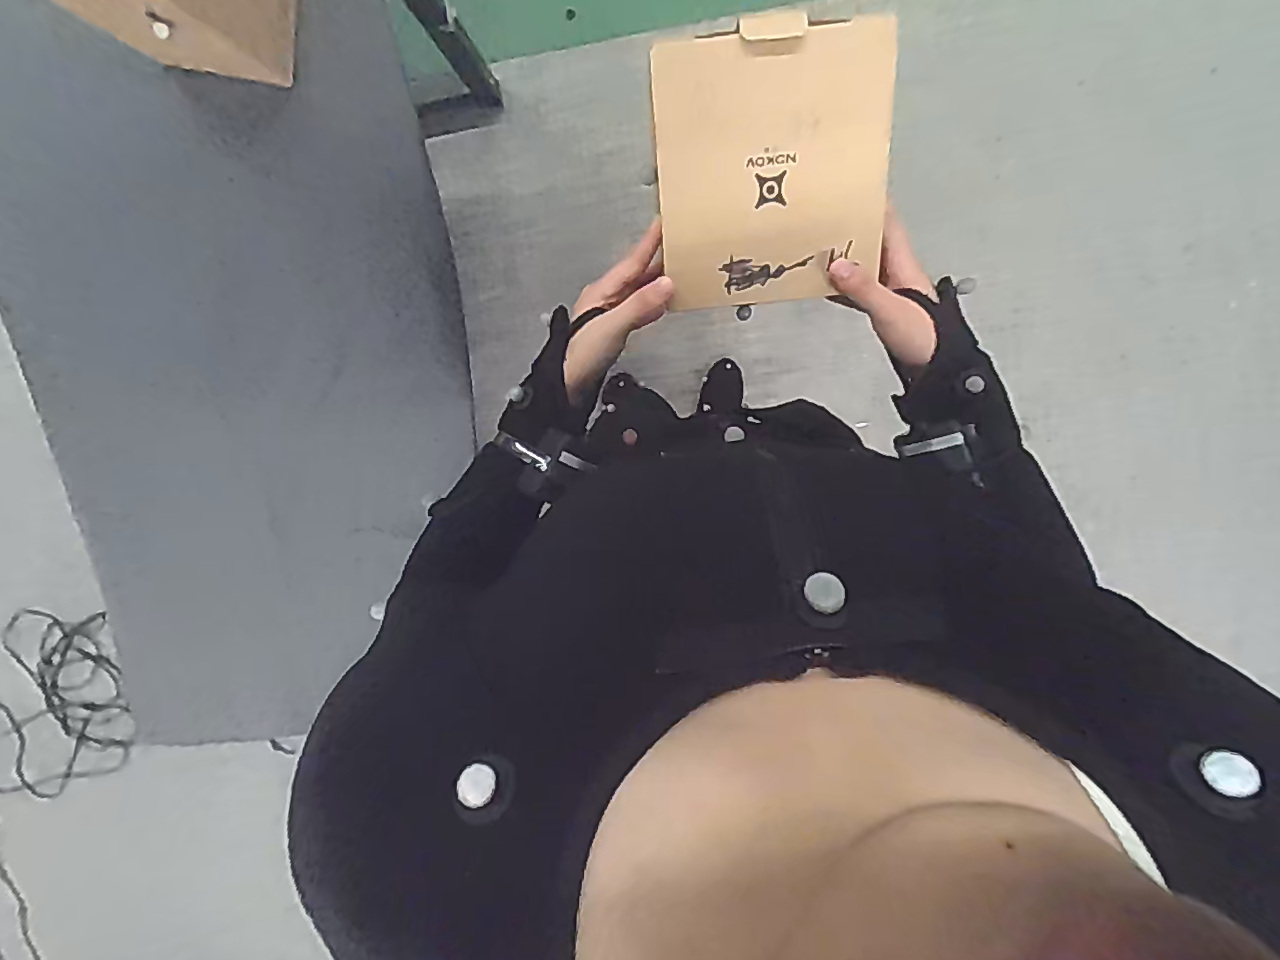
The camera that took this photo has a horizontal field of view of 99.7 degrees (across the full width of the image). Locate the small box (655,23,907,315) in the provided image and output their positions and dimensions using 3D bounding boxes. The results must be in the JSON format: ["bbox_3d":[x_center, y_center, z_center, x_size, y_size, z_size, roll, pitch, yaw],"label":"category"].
[{"bbox_3d":[0.101,-0.243,0.460,0.168,0.176,0.179,-4,113,2],"label":"small box"}]

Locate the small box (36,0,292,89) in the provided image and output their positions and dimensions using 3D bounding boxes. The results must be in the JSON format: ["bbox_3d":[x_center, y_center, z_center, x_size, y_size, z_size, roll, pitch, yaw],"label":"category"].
[{"bbox_3d":[-0.497,-0.547,0.565,0.179,0.176,0.168,12,102,3],"label":"small box"}]
